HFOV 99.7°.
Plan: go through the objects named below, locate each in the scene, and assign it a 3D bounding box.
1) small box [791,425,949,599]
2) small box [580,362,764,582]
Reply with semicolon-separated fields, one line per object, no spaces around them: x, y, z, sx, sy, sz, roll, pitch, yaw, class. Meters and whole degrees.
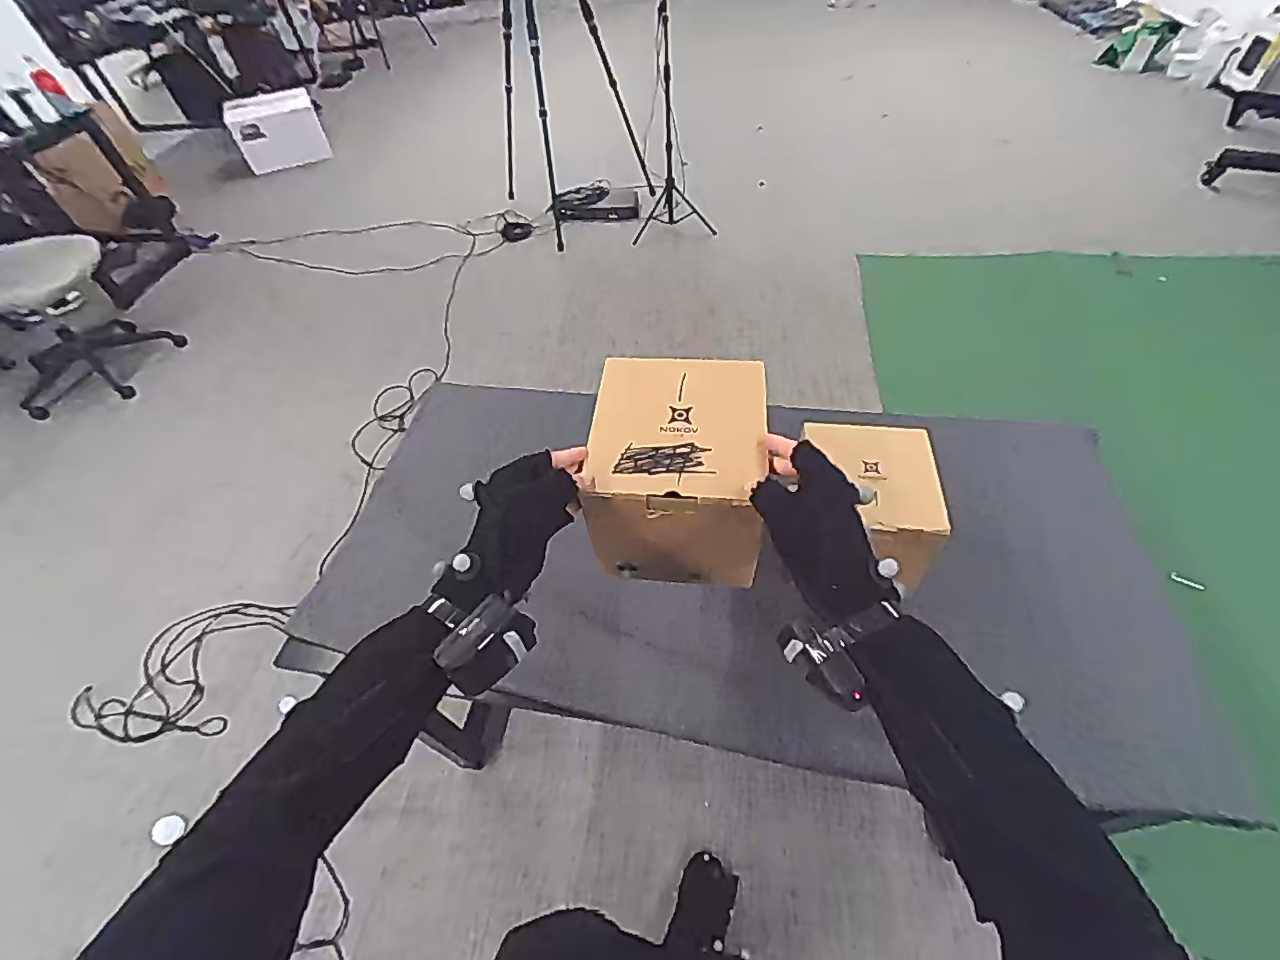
0.308;0.045;0.767;0.168;0.176;0.179;4;52;10;small box
0.043;-0.005;0.579;0.168;0.176;0.179;3;53;7;small box
